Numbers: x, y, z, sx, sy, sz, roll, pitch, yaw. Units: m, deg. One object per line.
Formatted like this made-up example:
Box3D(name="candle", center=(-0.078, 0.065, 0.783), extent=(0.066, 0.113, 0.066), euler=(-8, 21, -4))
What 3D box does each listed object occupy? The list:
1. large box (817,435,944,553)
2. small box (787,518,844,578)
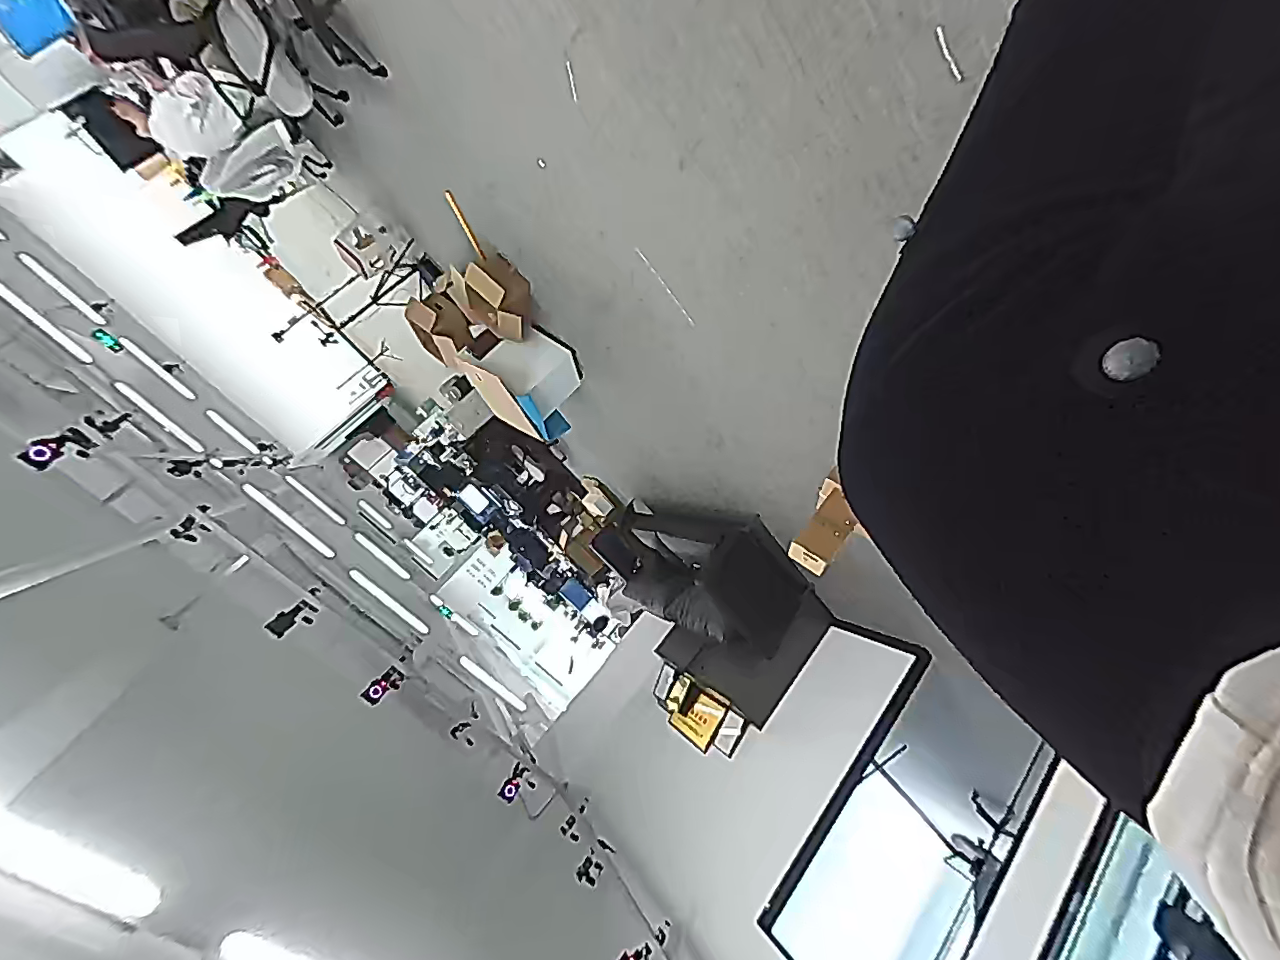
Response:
Box3D(name="large box", center=(1.092, 0.061, 2.491), extent=(0.408, 0.320, 0.320), euler=(33, 161, 24))
Box3D(name="small box", center=(0.768, 0.294, 2.366), extent=(0.168, 0.176, 0.179), euler=(35, 162, 23))
